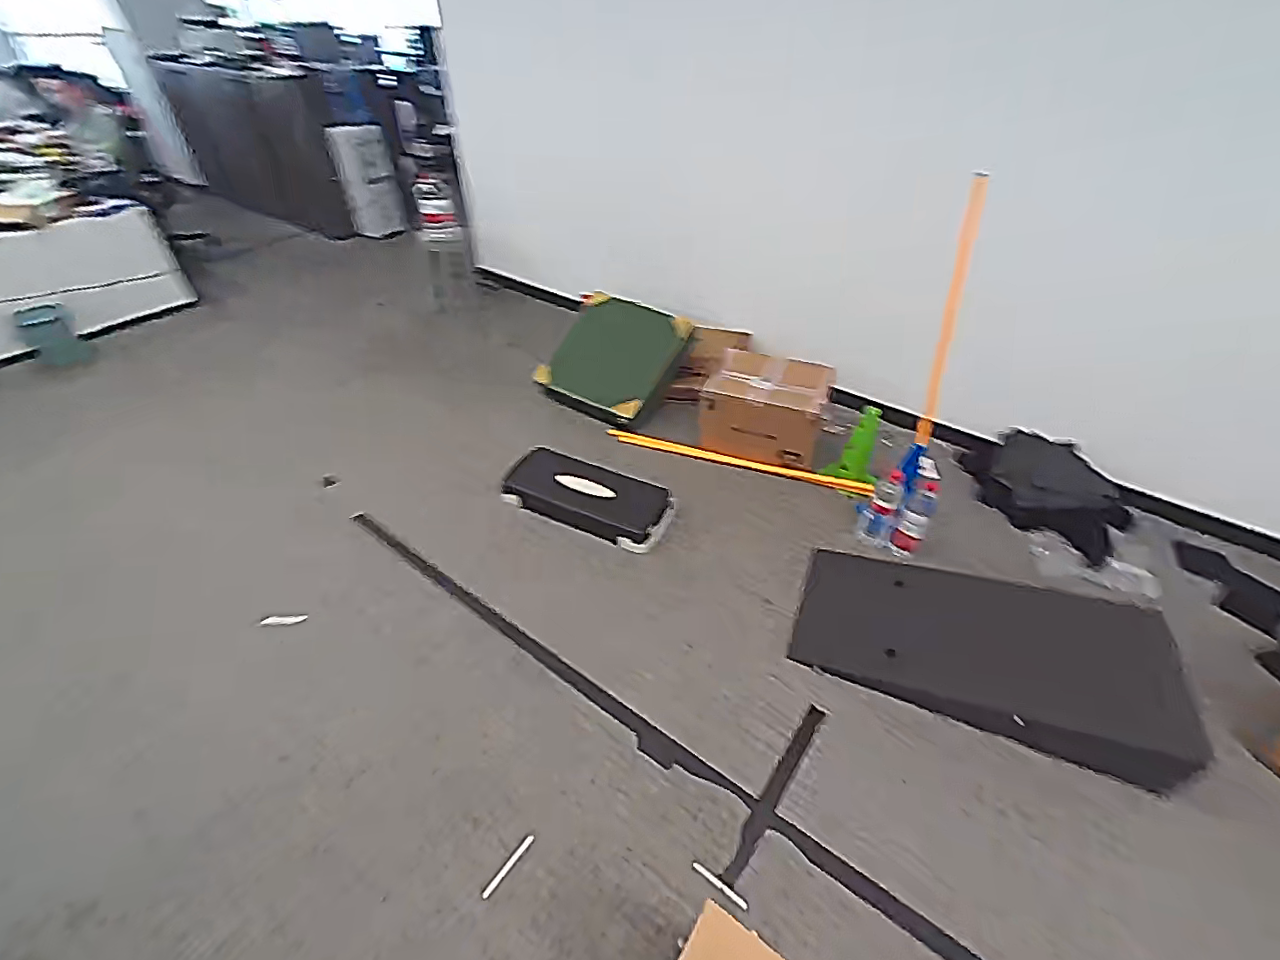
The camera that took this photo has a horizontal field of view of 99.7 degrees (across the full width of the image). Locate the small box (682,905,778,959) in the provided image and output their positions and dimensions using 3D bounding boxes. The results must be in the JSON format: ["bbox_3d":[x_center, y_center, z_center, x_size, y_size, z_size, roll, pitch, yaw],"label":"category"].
[{"bbox_3d":[0.147,0.879,0.915,0.179,0.176,0.168,26,47,26],"label":"small box"}]
